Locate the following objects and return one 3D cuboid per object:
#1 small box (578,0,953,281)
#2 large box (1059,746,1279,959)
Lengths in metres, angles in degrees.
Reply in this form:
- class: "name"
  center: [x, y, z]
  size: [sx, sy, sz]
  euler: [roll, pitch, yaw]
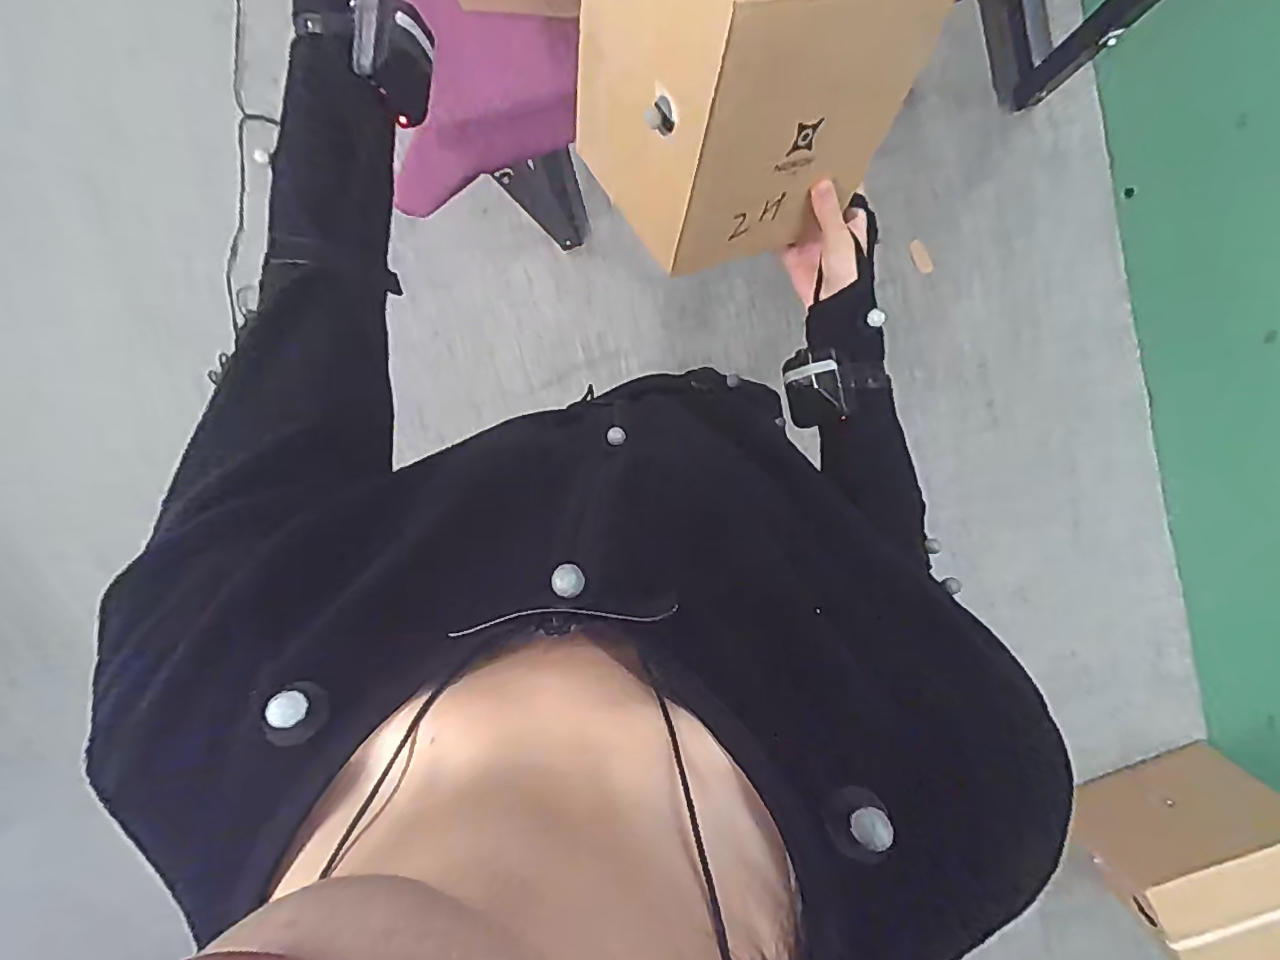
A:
- class: "small box"
  center: [0.066, -0.284, 0.387]
  size: [0.168, 0.179, 0.176]
  euler: [-23, 68, -20]
- class: "large box"
  center: [1.404, 0.960, 1.358]
  size: [0.408, 0.320, 0.320]
  euler: [-29, 95, 9]
